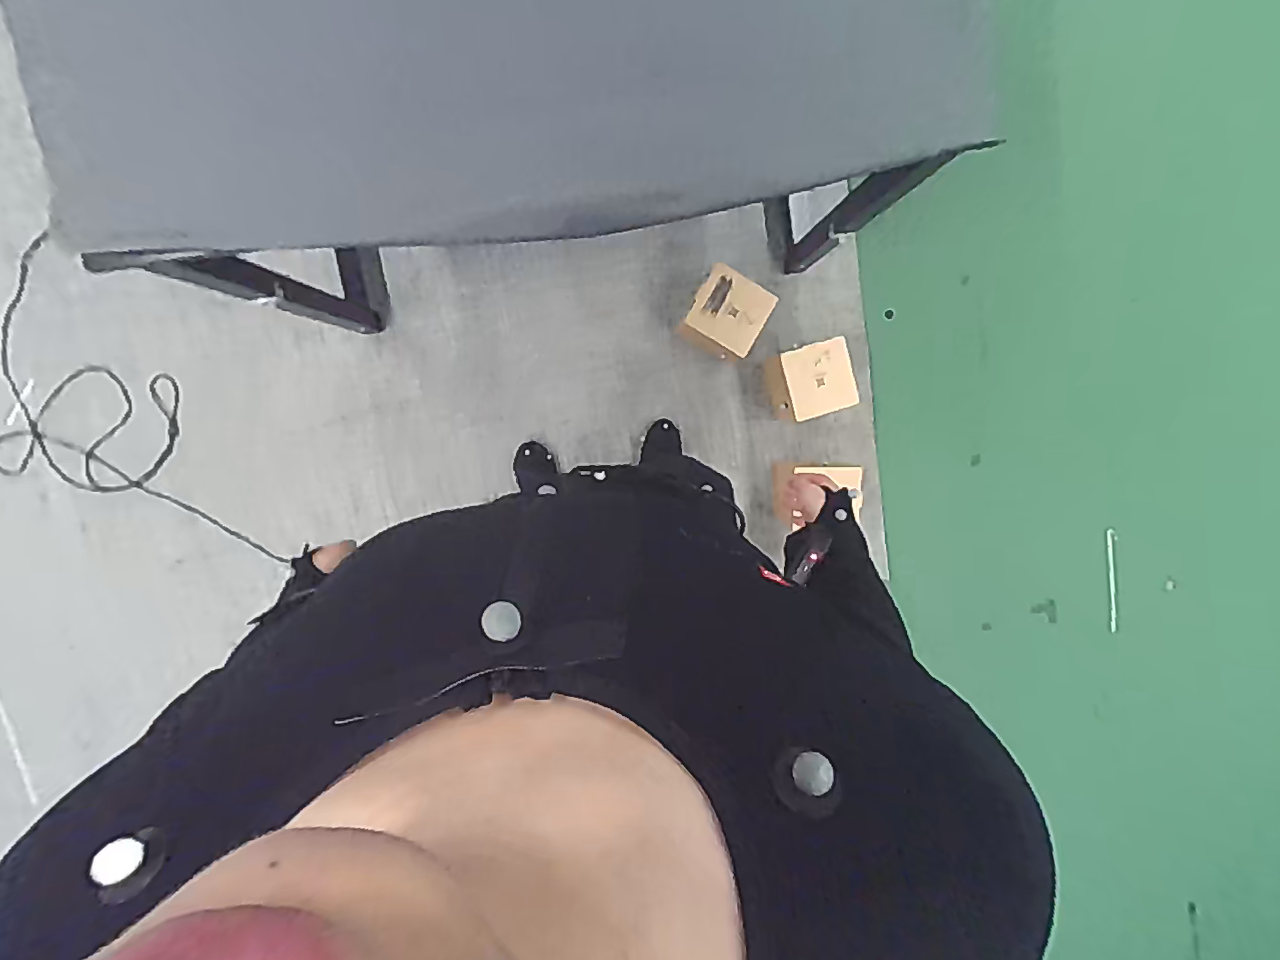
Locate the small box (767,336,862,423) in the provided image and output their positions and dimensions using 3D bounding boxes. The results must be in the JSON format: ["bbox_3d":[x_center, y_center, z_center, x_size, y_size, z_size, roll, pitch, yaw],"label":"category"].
[{"bbox_3d":[0.441,-0.256,1.387,0.168,0.176,0.179,-16,98,0],"label":"small box"}]

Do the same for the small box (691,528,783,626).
[{"bbox_3d":[0.250,0.252,1.449,0.168,0.176,0.179,29,95,-6],"label":"small box"}]

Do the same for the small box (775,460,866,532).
[{"bbox_3d":[0.470,0.037,1.427,0.179,0.176,0.168,0,99,-2],"label":"small box"}]
